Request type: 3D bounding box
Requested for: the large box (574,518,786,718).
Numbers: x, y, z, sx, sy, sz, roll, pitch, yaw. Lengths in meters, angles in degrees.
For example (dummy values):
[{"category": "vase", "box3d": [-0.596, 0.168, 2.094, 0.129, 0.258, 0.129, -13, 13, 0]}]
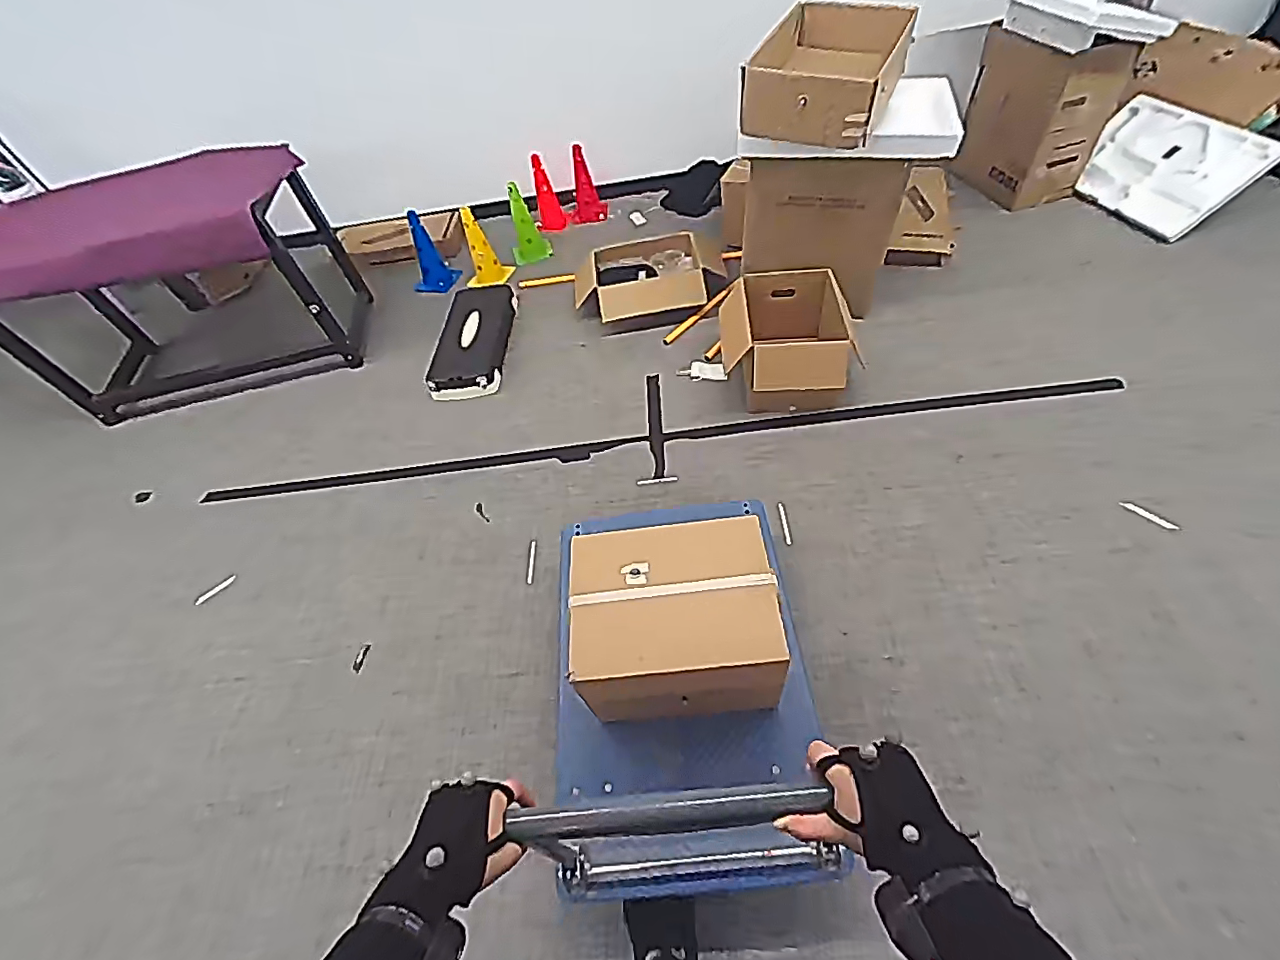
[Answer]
[{"category": "large box", "box3d": [0.084, 0.318, 1.207, 0.408, 0.320, 0.320, -8, 51, 4]}]
